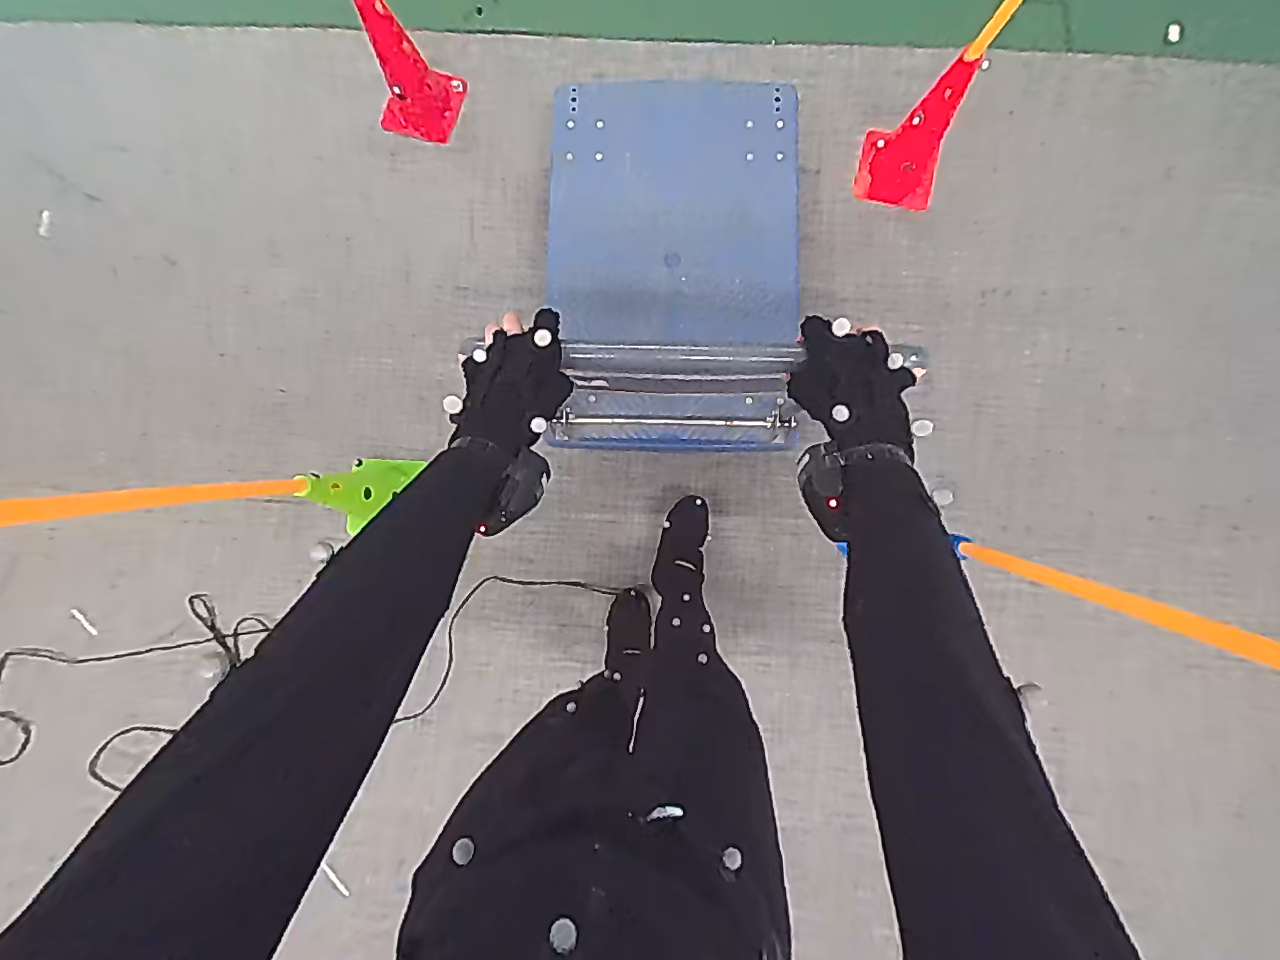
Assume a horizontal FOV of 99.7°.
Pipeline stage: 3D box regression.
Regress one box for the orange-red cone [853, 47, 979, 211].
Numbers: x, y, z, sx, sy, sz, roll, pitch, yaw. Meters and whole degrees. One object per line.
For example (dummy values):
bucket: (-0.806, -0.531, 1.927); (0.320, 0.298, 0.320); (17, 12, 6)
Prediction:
orange-red cone: (0.672, -0.835, 1.260); (0.198, 0.360, 0.199); (15, 85, 4)
